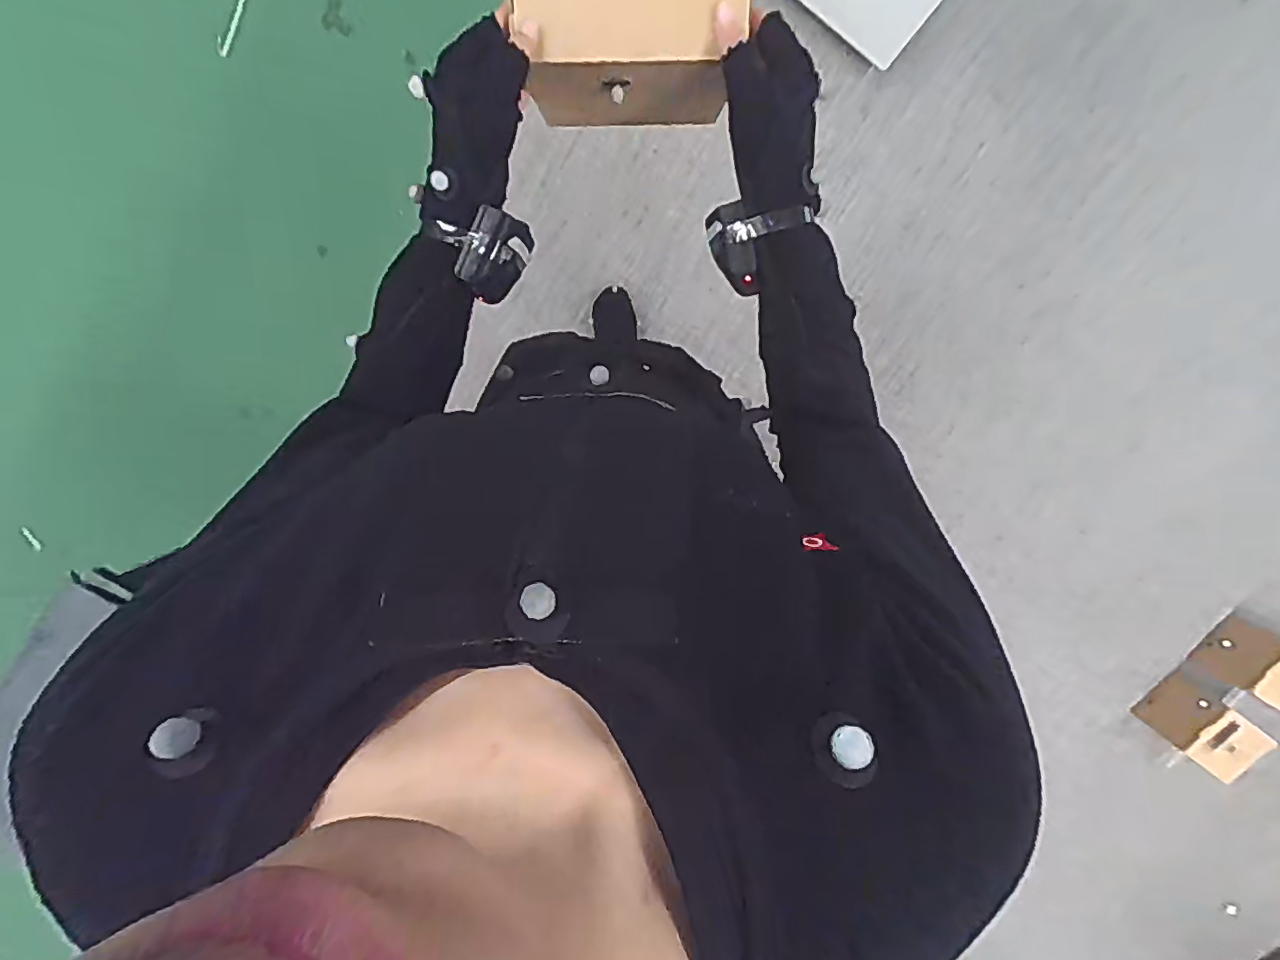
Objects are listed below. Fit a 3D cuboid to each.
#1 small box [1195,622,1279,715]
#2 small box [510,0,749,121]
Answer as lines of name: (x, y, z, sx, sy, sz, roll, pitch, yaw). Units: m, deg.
small box: (1.668, 0.506, 1.433, 0.179, 0.176, 0.168, 30, 102, -4)
small box: (-0.008, -0.417, 0.451, 0.179, 0.176, 0.168, -1, 110, -1)
